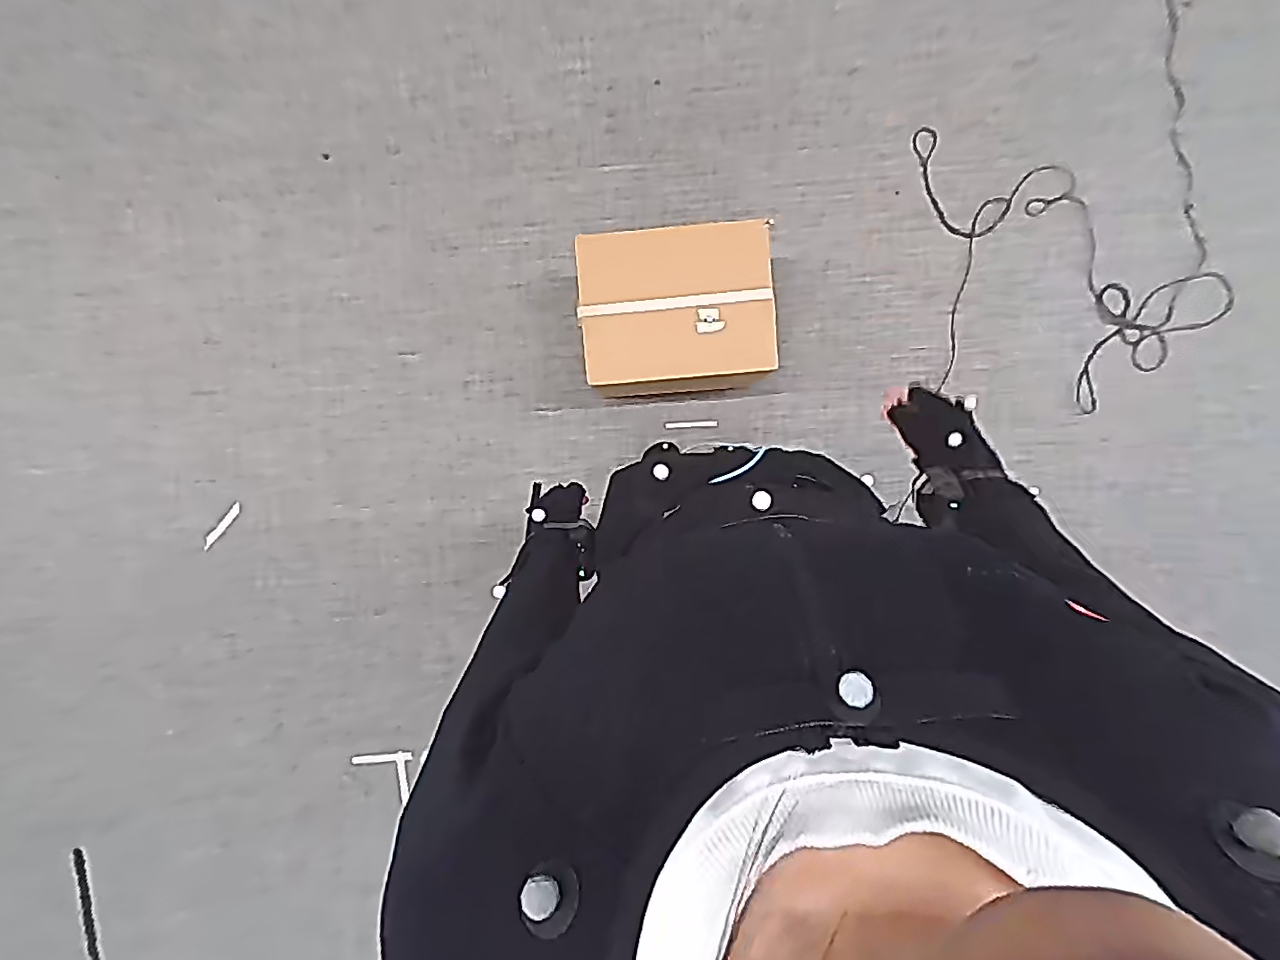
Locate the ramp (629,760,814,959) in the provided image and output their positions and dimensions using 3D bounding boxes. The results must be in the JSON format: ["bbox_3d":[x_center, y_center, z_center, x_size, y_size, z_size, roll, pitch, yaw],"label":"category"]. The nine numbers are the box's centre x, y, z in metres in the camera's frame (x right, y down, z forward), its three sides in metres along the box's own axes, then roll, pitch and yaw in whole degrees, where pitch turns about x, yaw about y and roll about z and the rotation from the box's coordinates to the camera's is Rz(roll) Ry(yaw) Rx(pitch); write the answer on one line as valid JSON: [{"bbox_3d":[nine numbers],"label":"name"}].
[{"bbox_3d":[0.216,1.273,1.440,0.509,0.206,0.991,-2,93,4],"label":"ramp"}]

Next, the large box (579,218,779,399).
[{"bbox_3d":[0.085,-0.380,1.283,0.408,0.320,0.320,-5,94,2],"label":"large box"}]
